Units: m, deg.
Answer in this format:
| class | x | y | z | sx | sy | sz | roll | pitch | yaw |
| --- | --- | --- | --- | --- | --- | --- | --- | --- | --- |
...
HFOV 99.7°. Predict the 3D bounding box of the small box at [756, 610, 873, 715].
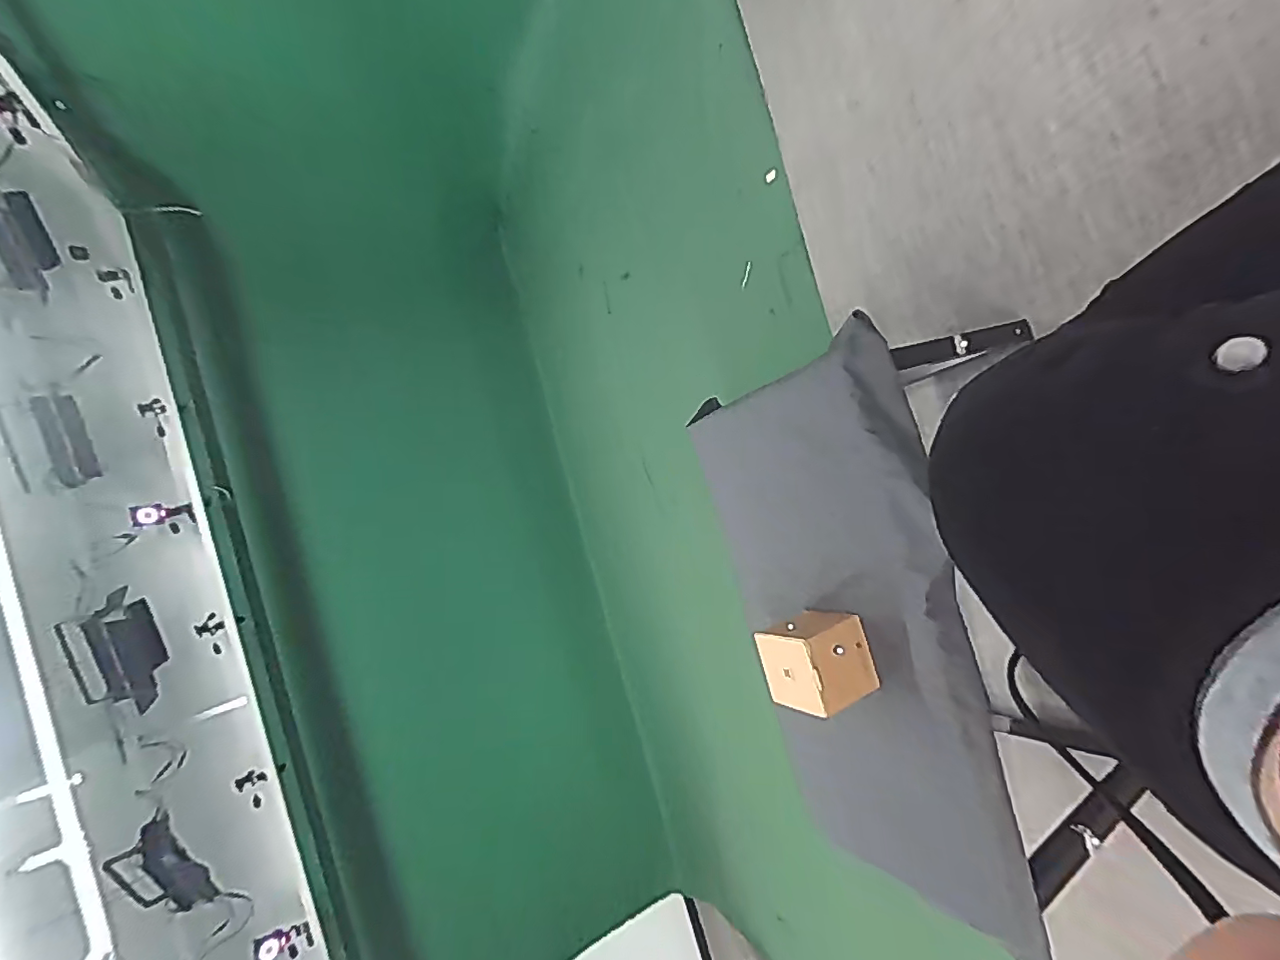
| class | x | y | z | sx | sy | sz | roll | pitch | yaw |
| --- | --- | --- | --- | --- | --- | --- | --- | --- | --- |
| small box | 0.401 | 0.404 | 1.229 | 0.179 | 0.176 | 0.168 | -22 | 83 | 64 |
